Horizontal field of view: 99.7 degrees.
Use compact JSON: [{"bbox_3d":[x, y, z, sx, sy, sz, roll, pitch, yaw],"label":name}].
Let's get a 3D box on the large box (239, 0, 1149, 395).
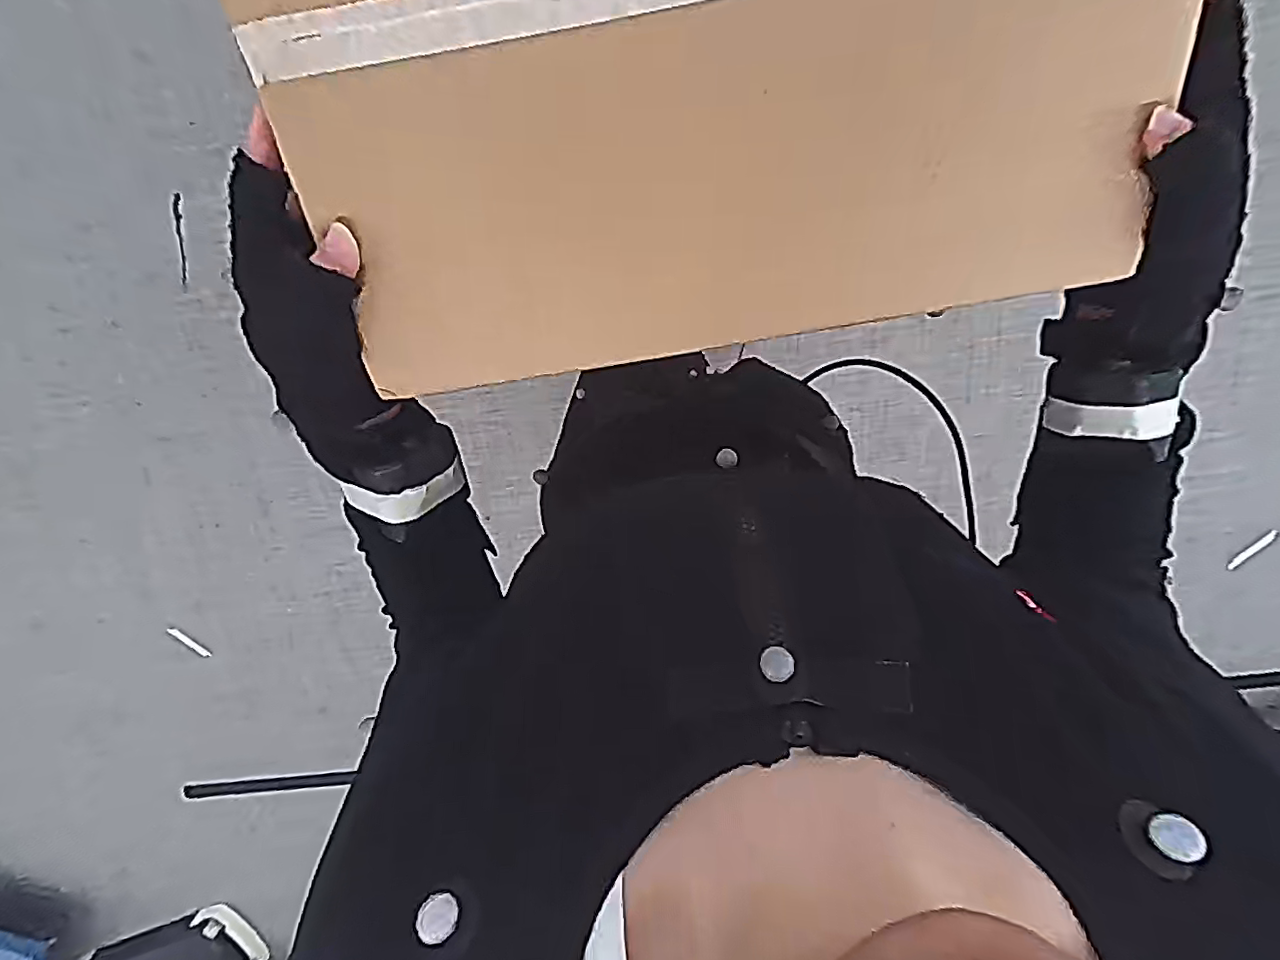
[{"bbox_3d":[0.024,-0.282,0.367,0.408,0.320,0.320,-9,115,3],"label":"large box"}]
